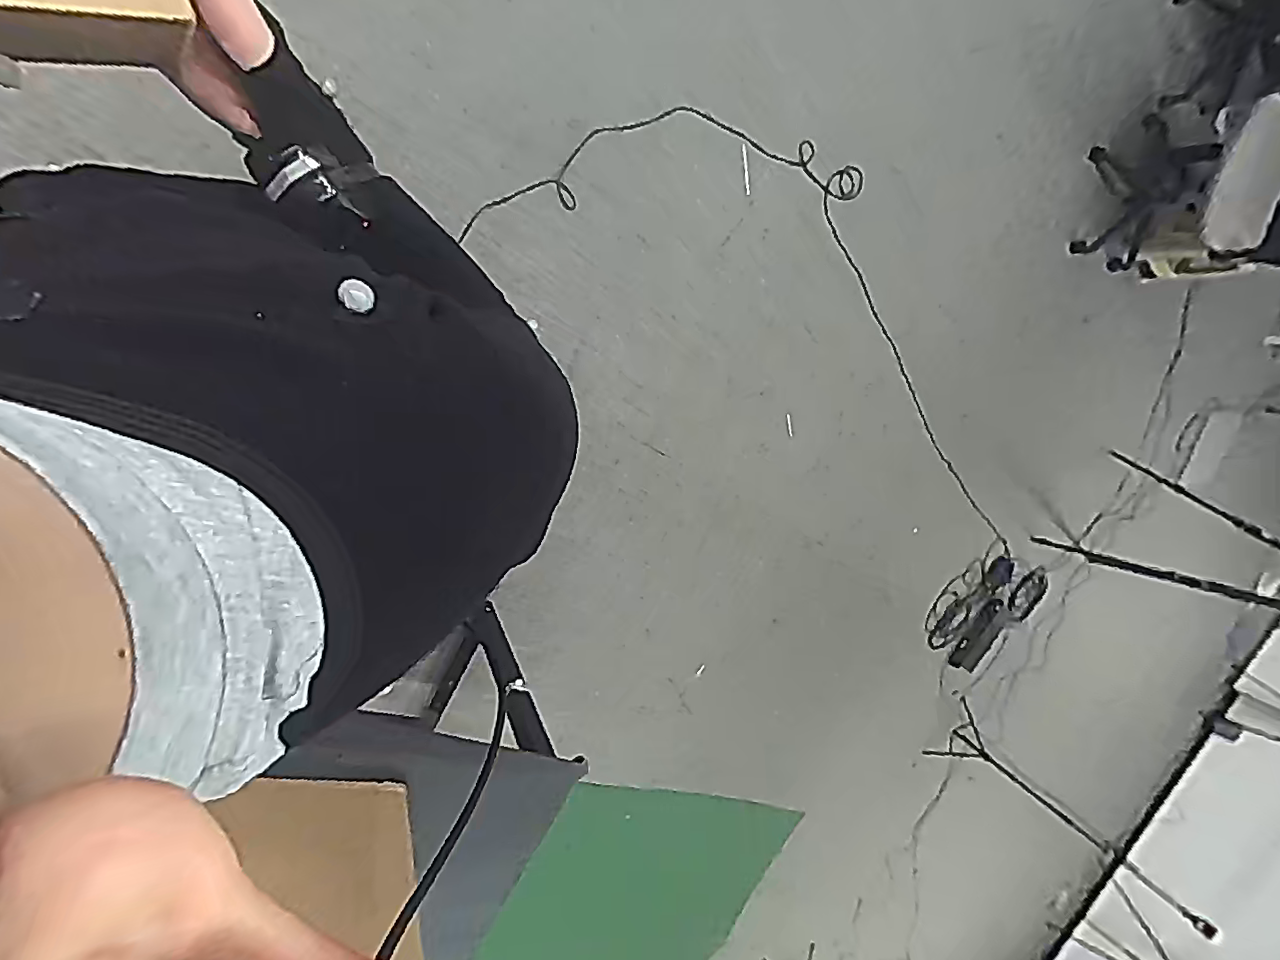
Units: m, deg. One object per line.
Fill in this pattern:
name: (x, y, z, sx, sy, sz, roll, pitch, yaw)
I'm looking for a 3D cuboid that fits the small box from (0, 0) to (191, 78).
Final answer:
small box: (-0.338, -0.298, 0.236, 0.168, 0.176, 0.179, -23, 128, -33)
